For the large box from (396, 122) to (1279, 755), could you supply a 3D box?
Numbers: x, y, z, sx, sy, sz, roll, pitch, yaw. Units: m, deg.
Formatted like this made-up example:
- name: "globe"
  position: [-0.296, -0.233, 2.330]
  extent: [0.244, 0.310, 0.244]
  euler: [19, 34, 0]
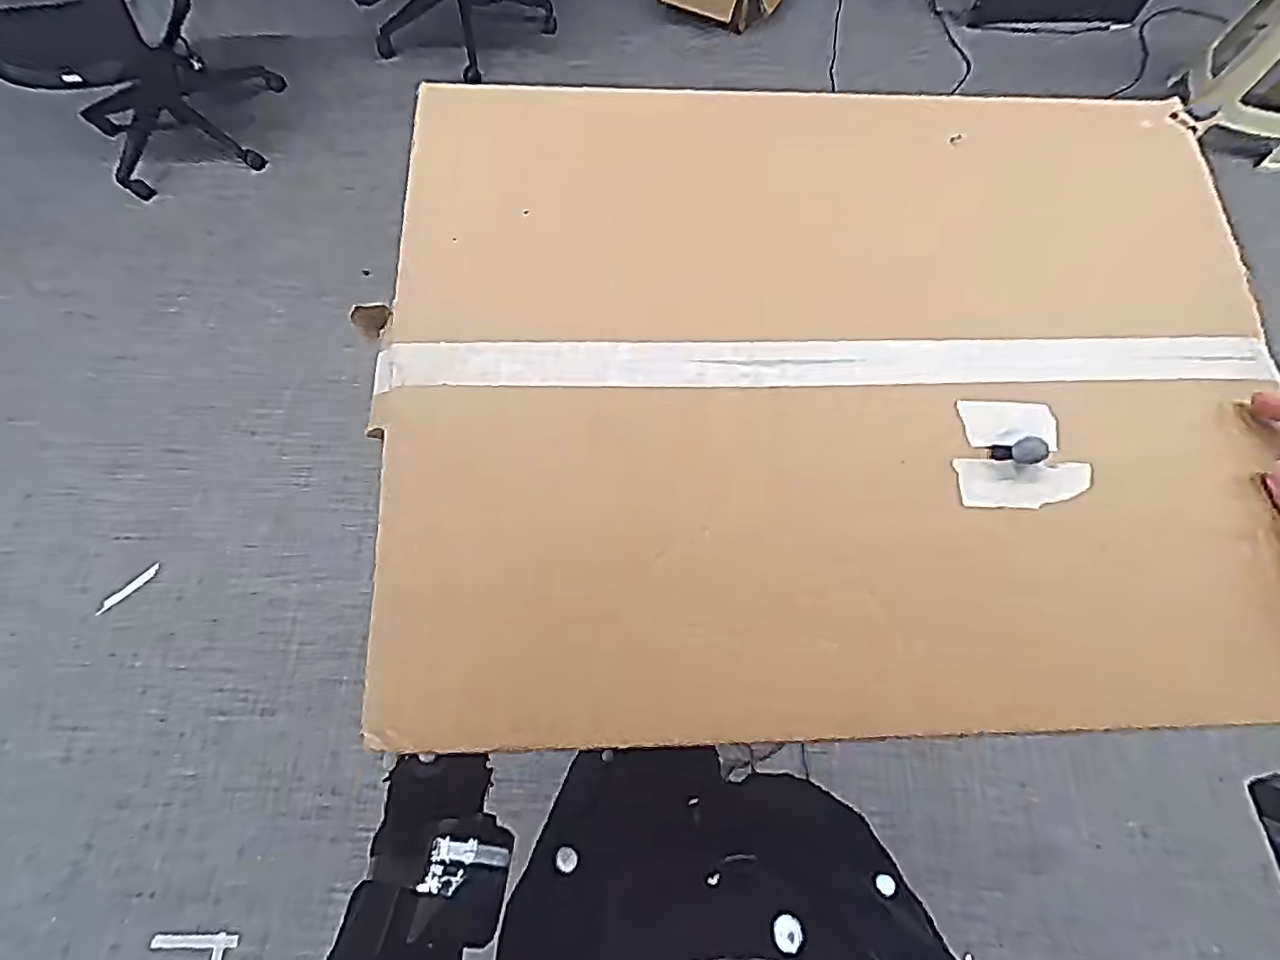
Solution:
- name: "large box"
  position: [0.084, -0.010, 0.404]
  extent: [0.408, 0.320, 0.320]
  euler: [-1, 77, -4]
